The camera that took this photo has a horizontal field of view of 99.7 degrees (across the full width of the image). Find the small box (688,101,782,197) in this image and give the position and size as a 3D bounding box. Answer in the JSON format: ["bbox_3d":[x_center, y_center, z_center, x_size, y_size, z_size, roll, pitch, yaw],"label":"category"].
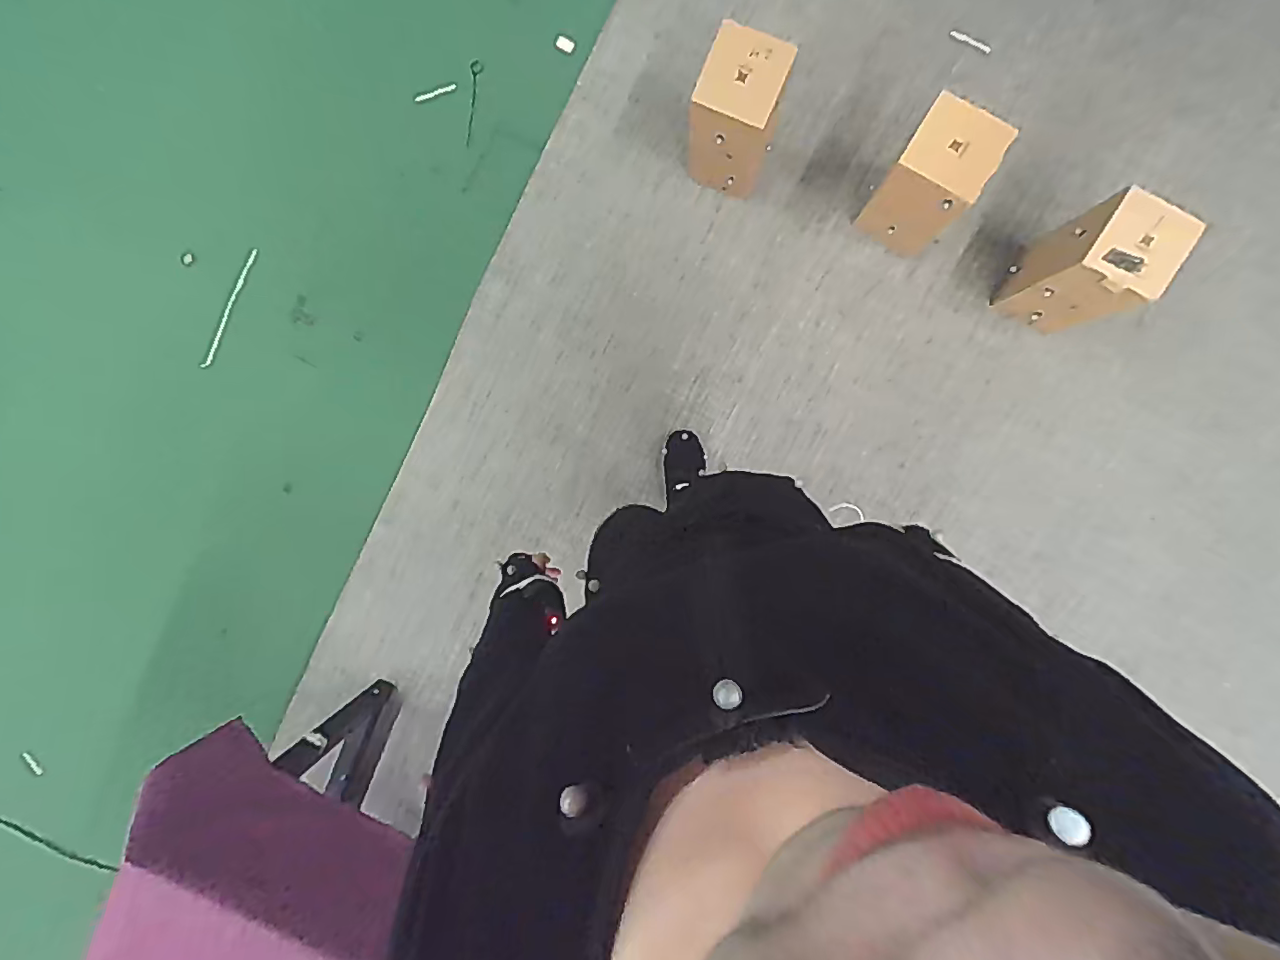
[{"bbox_3d":[0.231,-0.845,1.348,0.168,0.176,0.179,26,94,2],"label":"small box"}]

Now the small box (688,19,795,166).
[{"bbox_3d":[0.214,-0.834,1.184,0.168,0.176,0.179,24,95,2],"label":"small box"}]

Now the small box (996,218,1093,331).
[{"bbox_3d":[1.006,-0.483,1.303,0.168,0.176,0.179,29,96,2],"label":"small box"}]

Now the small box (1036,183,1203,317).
[{"bbox_3d":[0.988,-0.470,1.139,0.168,0.176,0.179,31,94,2],"label":"small box"}]

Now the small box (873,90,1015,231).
[{"bbox_3d":[0.636,-0.670,1.159,0.179,0.176,0.168,31,95,2],"label":"small box"}]
